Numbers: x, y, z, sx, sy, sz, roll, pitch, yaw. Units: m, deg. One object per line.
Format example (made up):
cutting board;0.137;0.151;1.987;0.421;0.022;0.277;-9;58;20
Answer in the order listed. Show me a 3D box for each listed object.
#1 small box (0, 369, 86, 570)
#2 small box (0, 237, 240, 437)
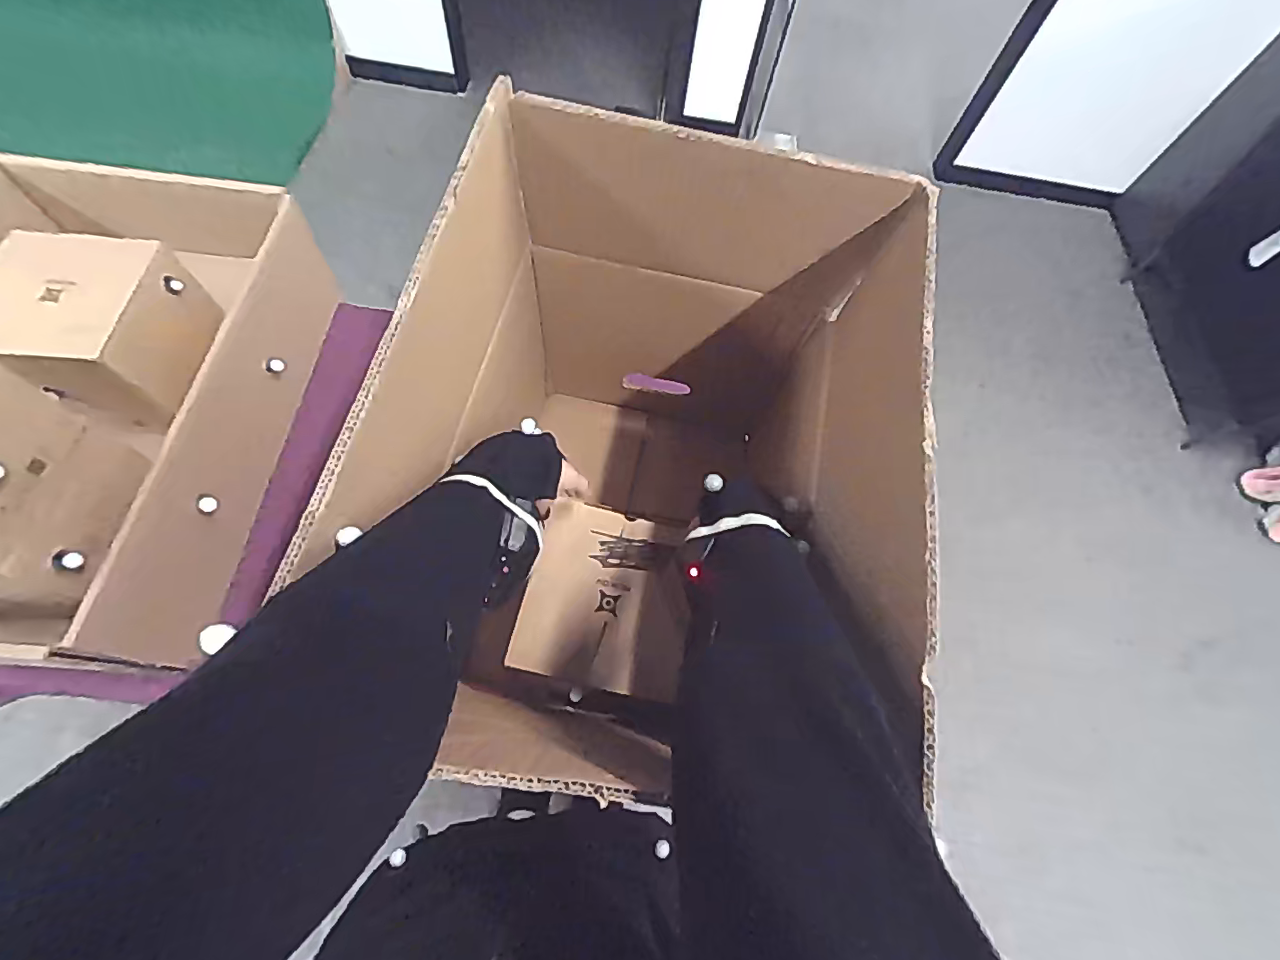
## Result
small box;-0.619;-0.025;0.417;0.179;0.176;0.168;6;64;-3
small box;-0.647;-0.167;0.670;0.168;0.176;0.179;3;64;-3
